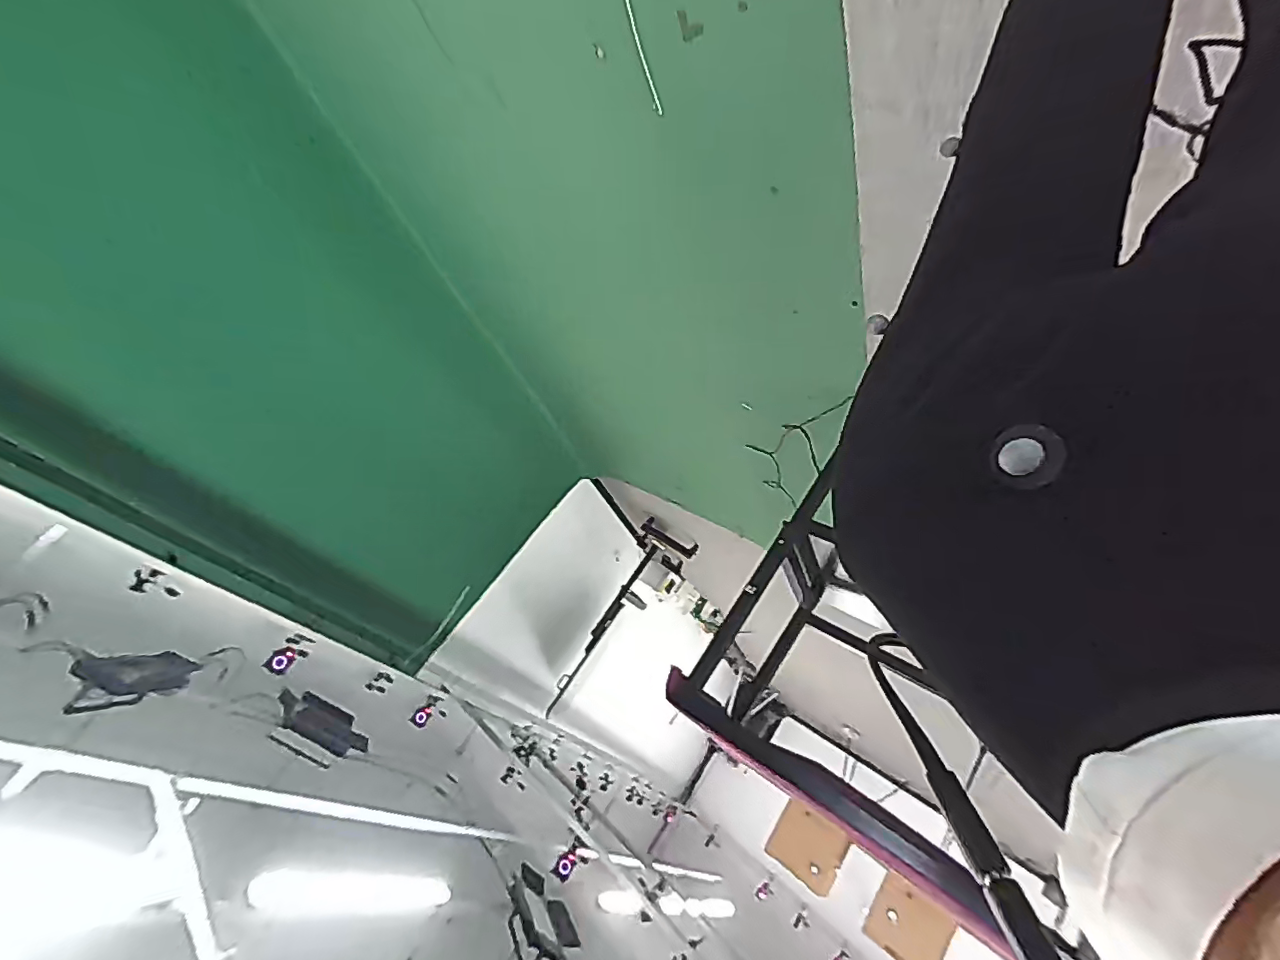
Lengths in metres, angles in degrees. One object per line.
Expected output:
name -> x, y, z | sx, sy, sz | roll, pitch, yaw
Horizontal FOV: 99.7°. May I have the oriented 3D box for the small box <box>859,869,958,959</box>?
small box -> 0.660, 1.096, 1.331 | 0.168, 0.176, 0.179 | 25, 159, 37
